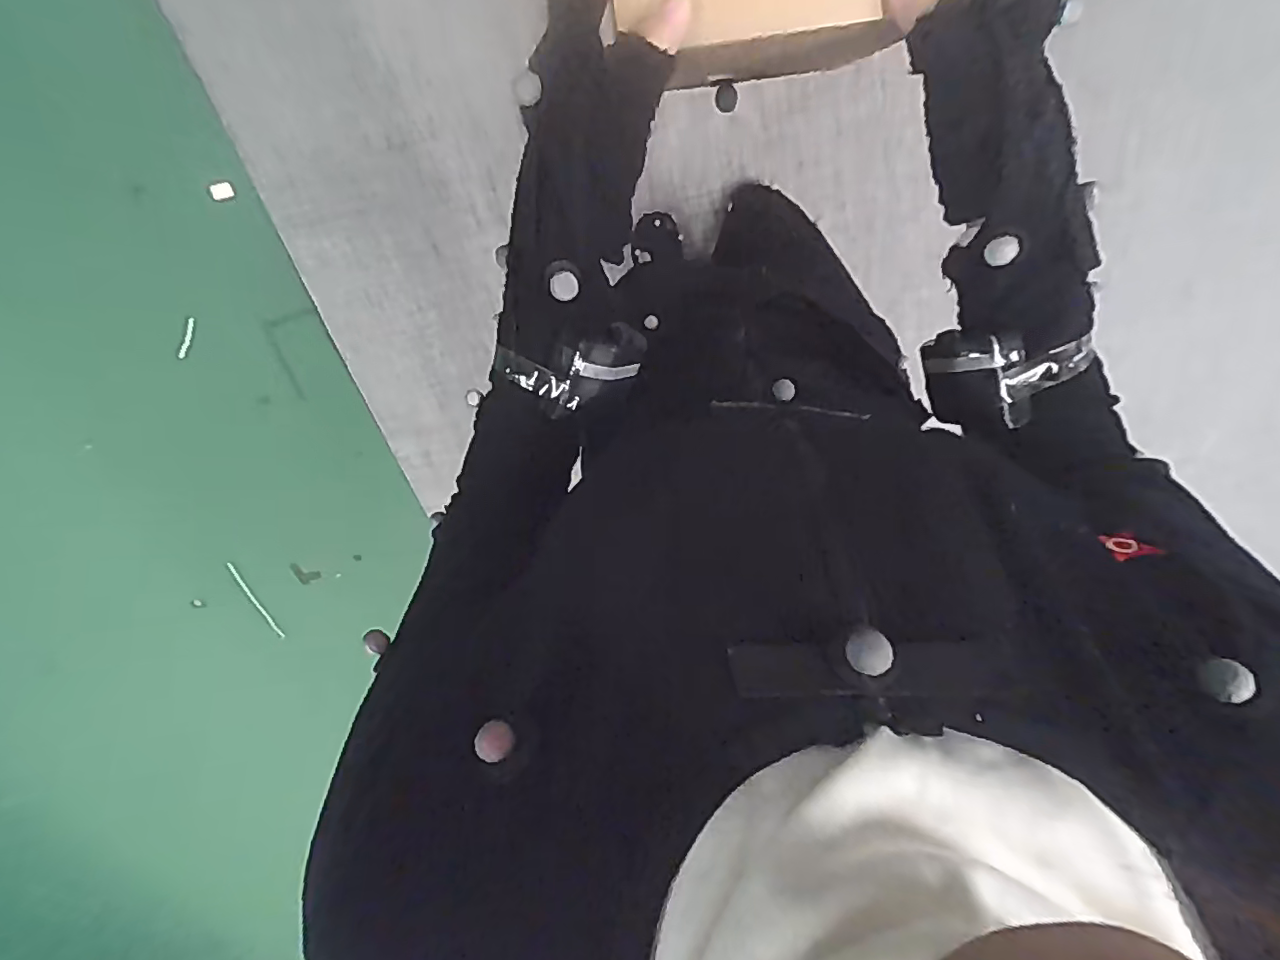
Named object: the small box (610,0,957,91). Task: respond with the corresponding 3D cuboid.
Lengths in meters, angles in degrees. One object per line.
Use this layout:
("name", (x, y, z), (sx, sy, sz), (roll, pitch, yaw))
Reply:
("small box", (0.060, -0.331, 0.285), (0.168, 0.176, 0.179), (-6, 120, 2))
